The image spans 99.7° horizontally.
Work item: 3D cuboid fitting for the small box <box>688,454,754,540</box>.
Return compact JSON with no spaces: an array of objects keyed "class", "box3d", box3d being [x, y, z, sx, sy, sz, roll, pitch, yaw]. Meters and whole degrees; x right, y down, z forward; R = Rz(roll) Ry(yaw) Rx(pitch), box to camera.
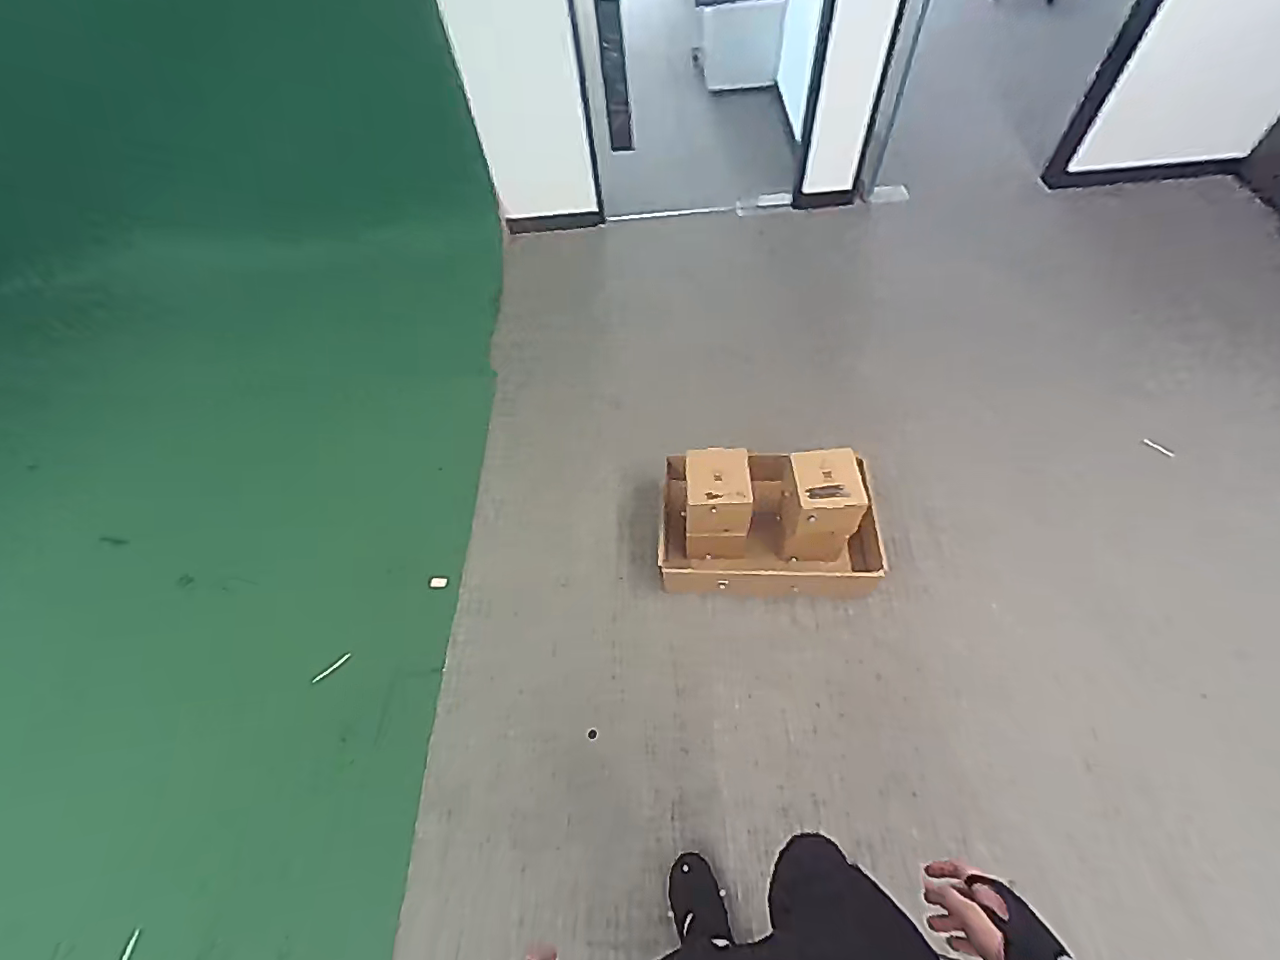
[{"class":"small box","box3d":[0.216,0.049,1.476,0.168,0.176,0.179,-2,55,5]}]
